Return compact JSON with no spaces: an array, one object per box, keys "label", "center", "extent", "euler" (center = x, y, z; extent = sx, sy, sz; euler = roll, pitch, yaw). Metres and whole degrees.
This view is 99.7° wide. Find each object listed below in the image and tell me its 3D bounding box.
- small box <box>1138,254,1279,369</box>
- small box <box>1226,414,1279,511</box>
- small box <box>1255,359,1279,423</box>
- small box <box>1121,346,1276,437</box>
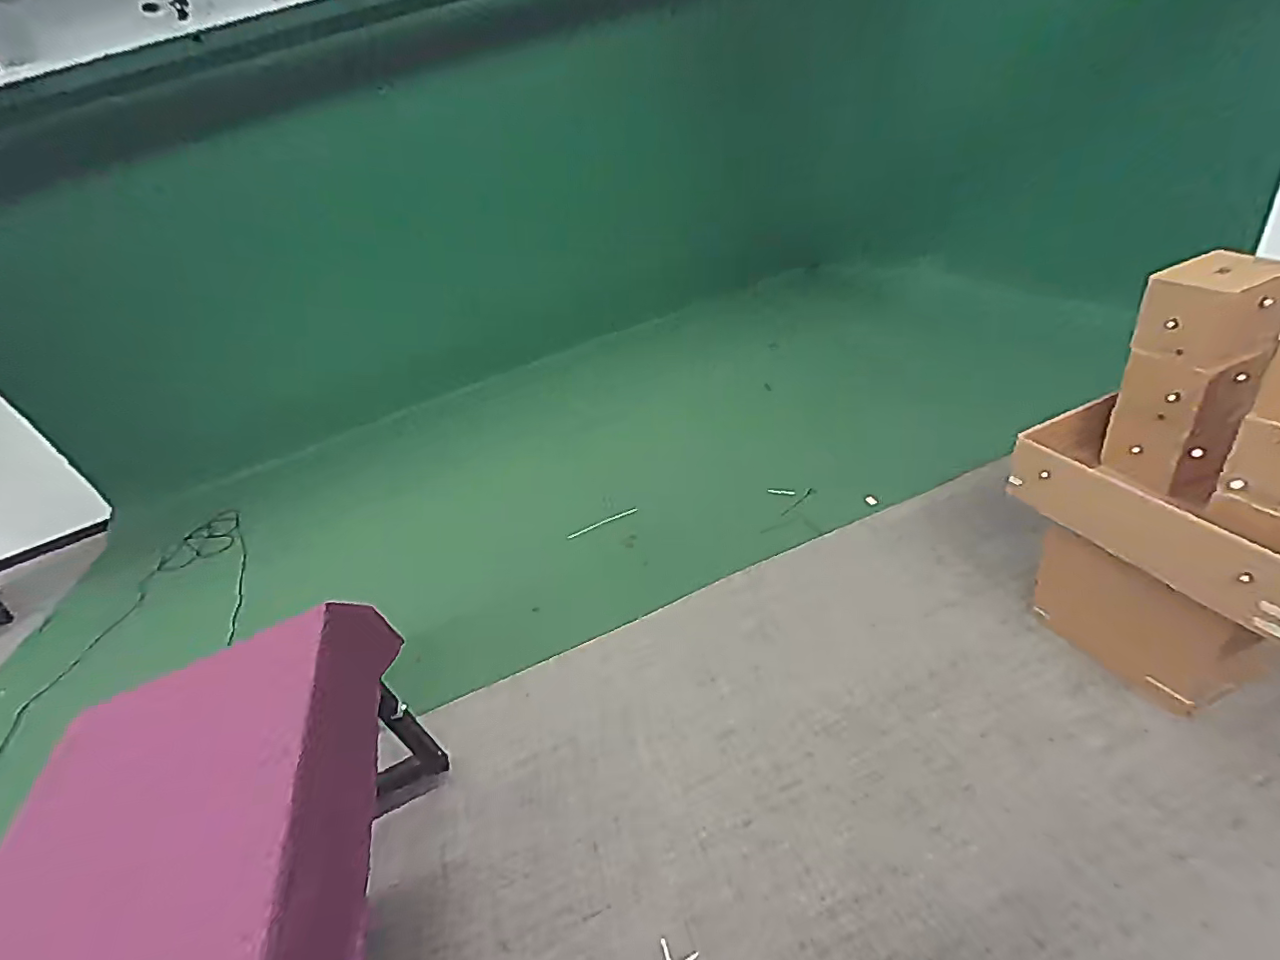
[{"label":"small box","center":[1.220,-0.356,1.151],"extent":[0.179,0.176,0.168],"euler":[-20,35,-4]},{"label":"small box","center":[1.236,-0.043,0.983],"extent":[0.179,0.176,0.168],"euler":[-24,34,-9]},{"label":"small box","center":[1.203,-0.176,0.896],"extent":[0.168,0.176,0.179],"euler":[-25,35,-12]},{"label":"small box","center":[1.259,-0.222,1.238],"extent":[0.179,0.176,0.168],"euler":[-20,35,-5]}]
